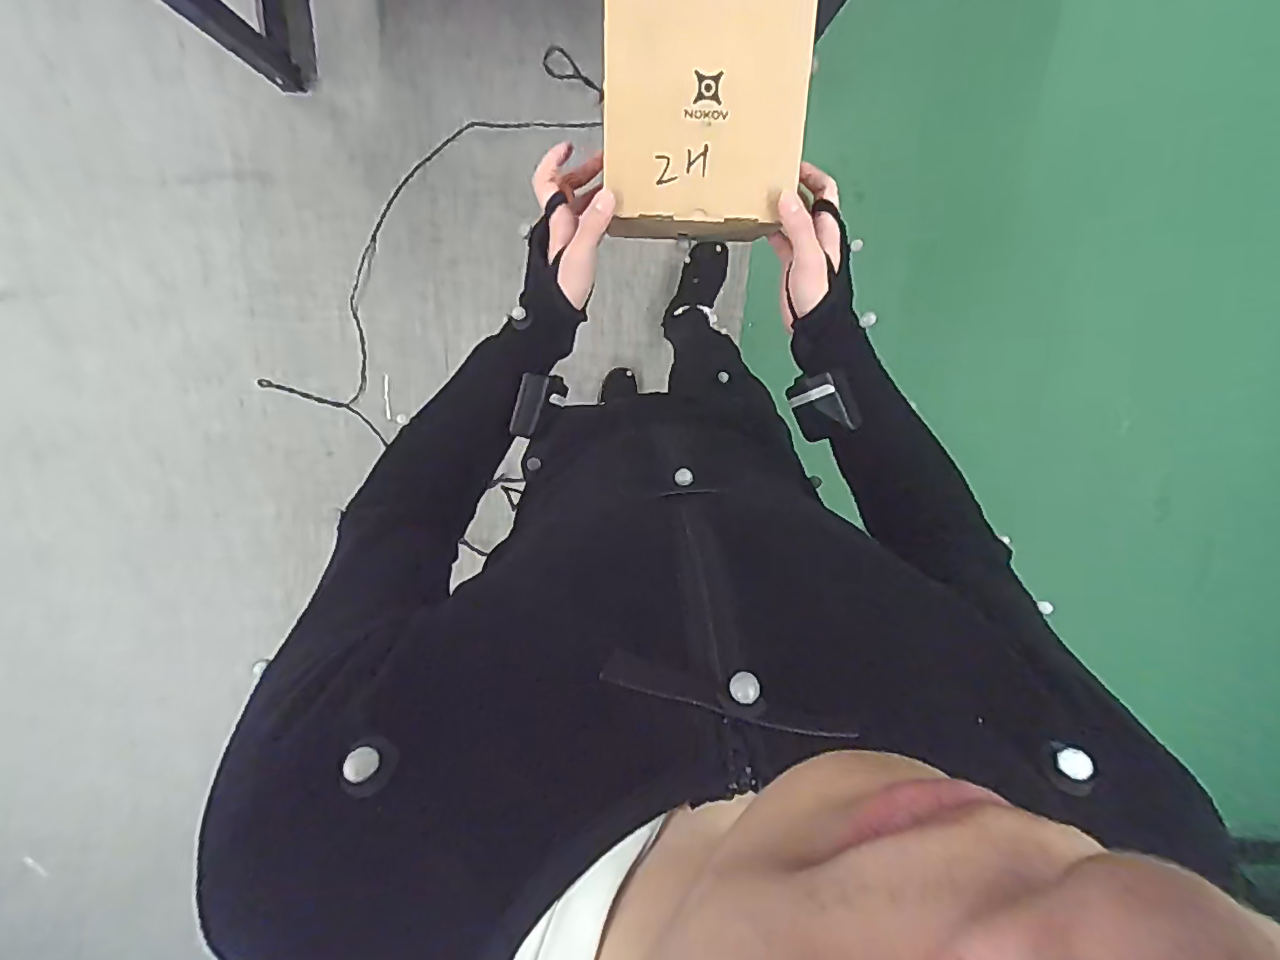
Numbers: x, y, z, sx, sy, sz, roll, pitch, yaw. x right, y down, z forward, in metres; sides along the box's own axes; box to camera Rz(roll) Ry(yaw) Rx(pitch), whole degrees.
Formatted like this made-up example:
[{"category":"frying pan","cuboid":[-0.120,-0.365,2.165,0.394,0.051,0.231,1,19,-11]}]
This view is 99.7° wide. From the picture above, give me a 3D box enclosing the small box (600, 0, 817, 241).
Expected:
[{"category":"small box","cuboid":[0.048,-0.332,0.505,0.168,0.176,0.179,2,108,-2]}]
